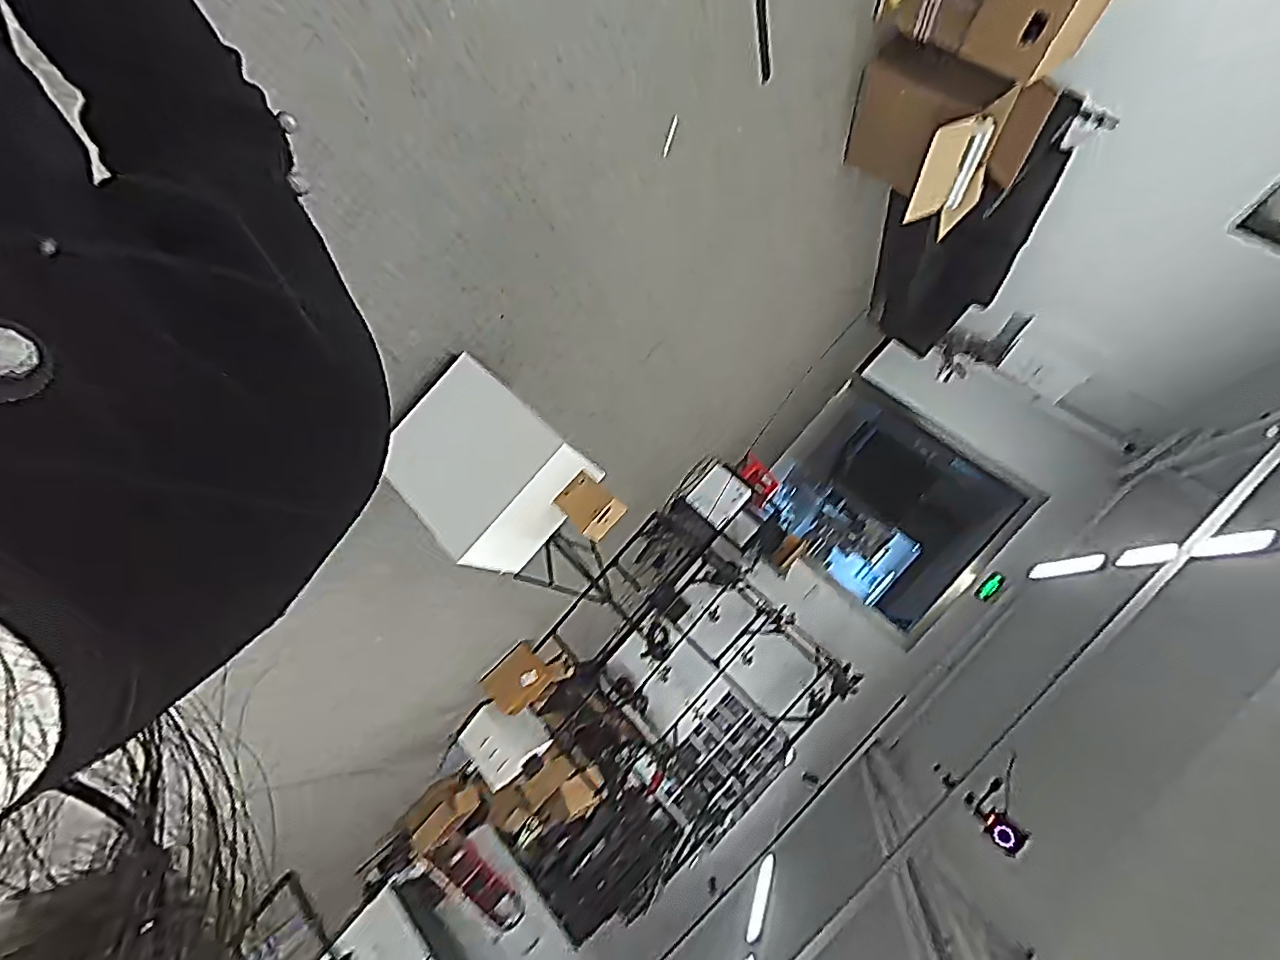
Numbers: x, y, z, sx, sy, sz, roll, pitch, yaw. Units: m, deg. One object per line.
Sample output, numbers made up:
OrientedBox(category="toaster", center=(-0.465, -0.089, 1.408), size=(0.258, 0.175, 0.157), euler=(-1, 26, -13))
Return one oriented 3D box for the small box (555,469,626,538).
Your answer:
OrientedBox(category="small box", center=(-0.182, 0.084, 1.970), size=(0.168, 0.176, 0.179), euler=(-47, 159, -1))
